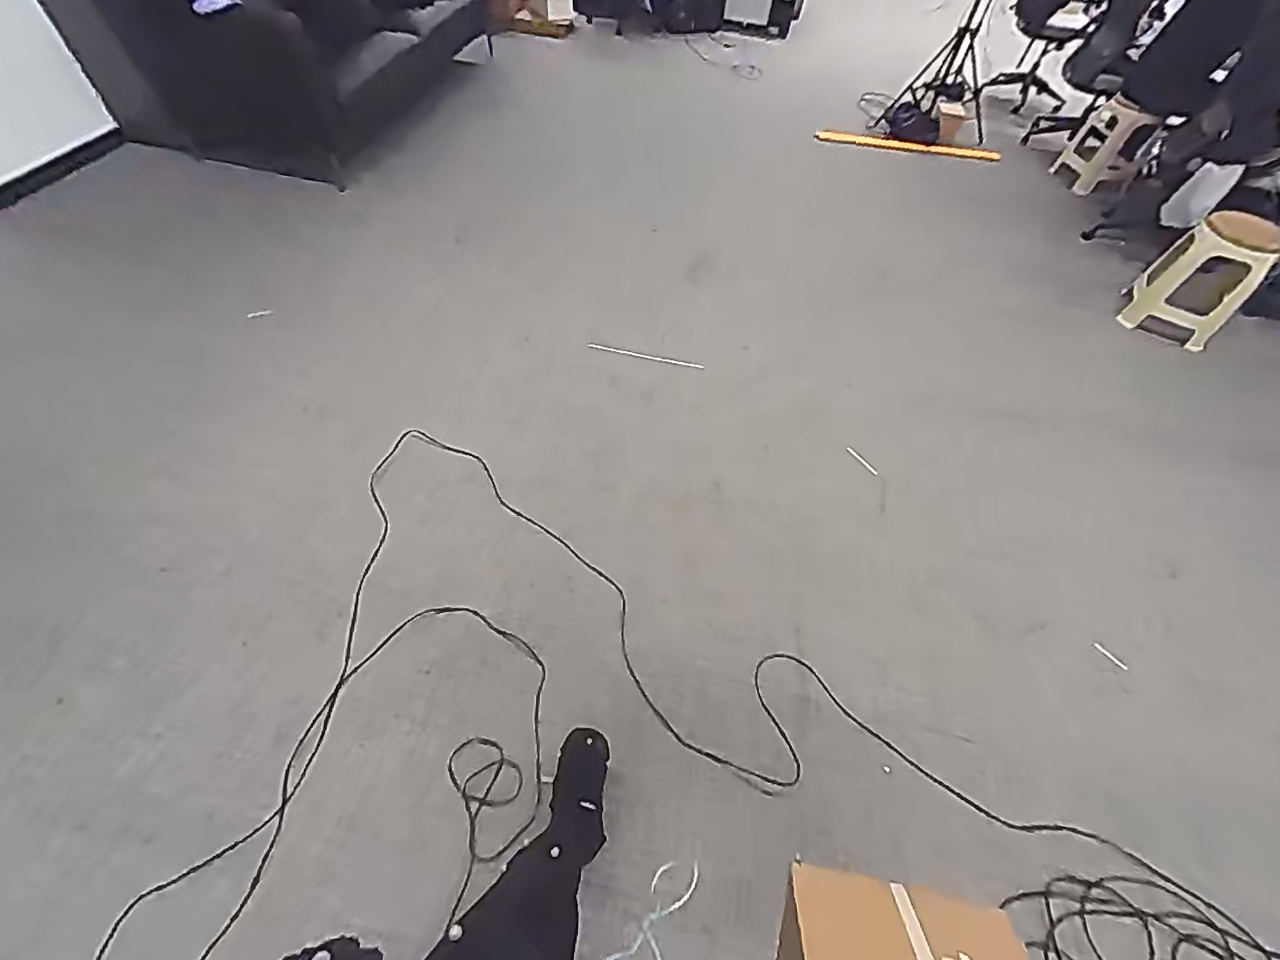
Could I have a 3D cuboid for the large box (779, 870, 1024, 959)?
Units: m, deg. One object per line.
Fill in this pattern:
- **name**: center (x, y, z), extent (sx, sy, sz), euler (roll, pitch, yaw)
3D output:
- **large box**: center (0.341, 0.794, 0.649), extent (0.320, 0.408, 0.320), euler (8, 95, 8)
